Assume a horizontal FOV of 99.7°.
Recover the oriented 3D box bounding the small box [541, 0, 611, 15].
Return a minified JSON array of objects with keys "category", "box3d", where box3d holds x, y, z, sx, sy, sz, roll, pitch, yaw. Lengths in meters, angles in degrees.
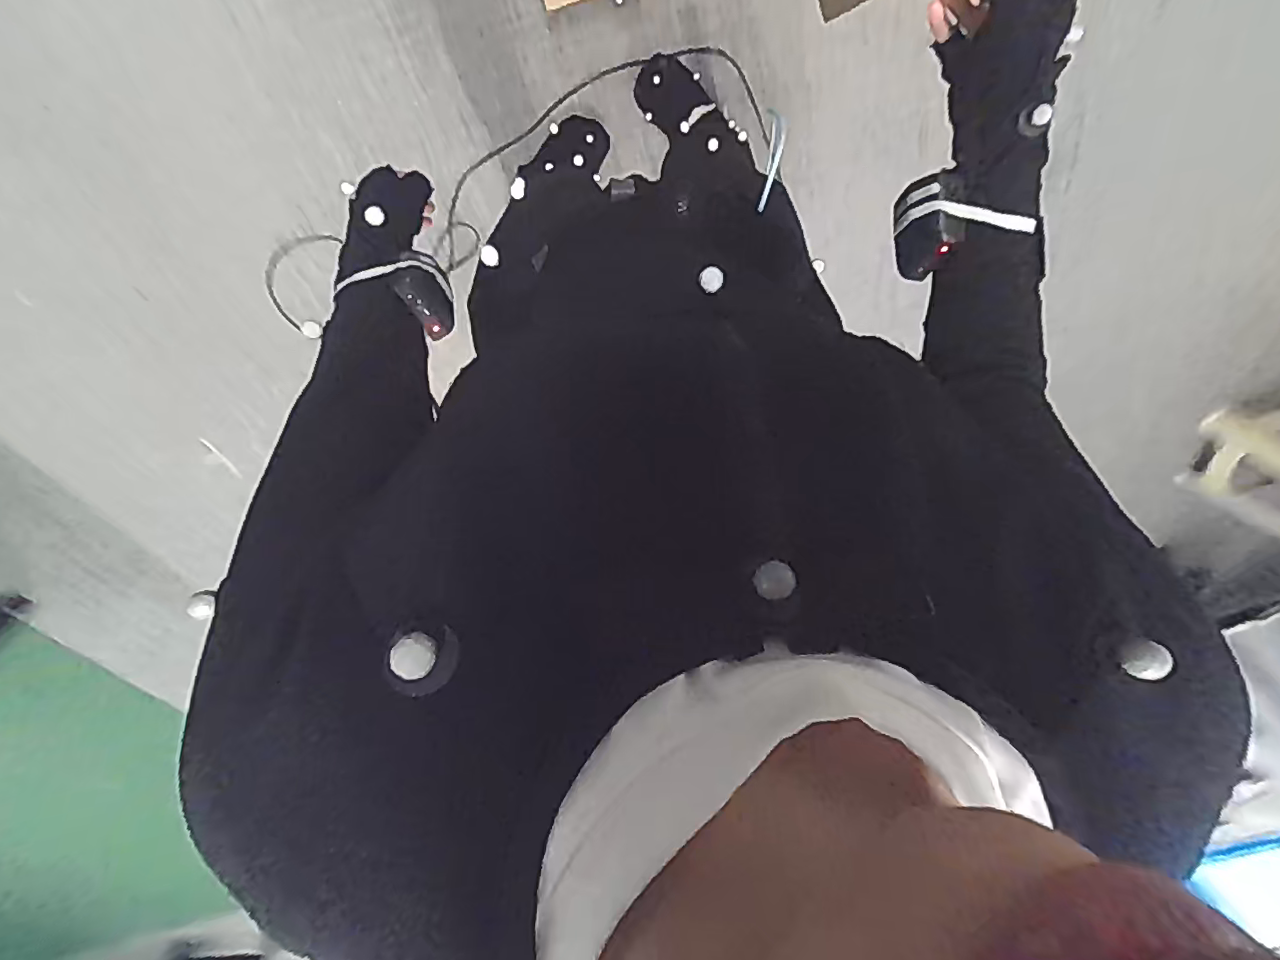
[{"category":"small box","box3d":[-0.099,-0.907,0.905,0.179,0.176,0.168,-14,129,2]}]
